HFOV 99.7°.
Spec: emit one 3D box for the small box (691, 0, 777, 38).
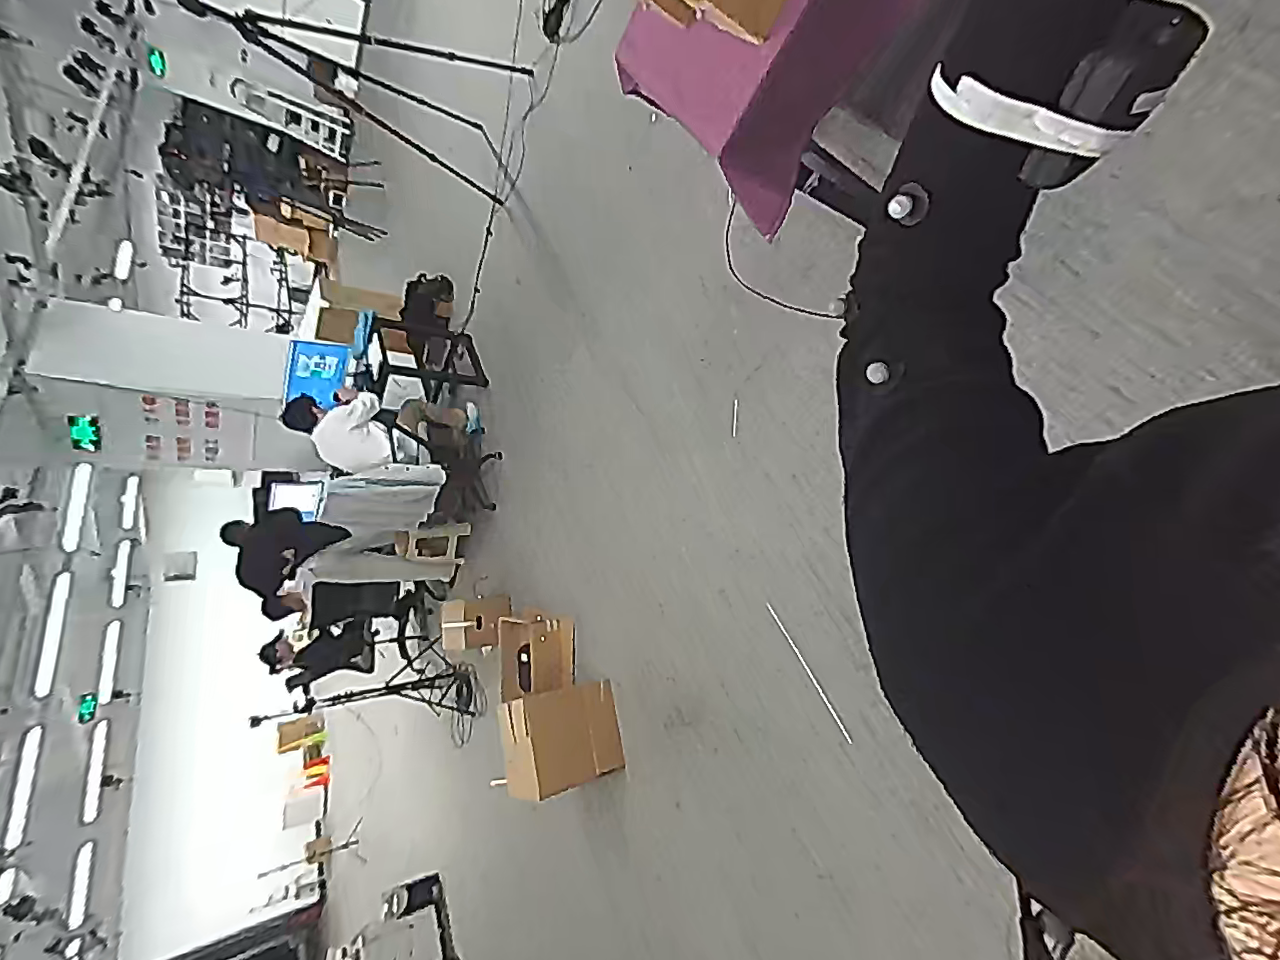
[{"bbox_3d":[0.175,-0.974,1.003,0.179,0.176,0.168,-57,48,32],"label":"small box"}]
